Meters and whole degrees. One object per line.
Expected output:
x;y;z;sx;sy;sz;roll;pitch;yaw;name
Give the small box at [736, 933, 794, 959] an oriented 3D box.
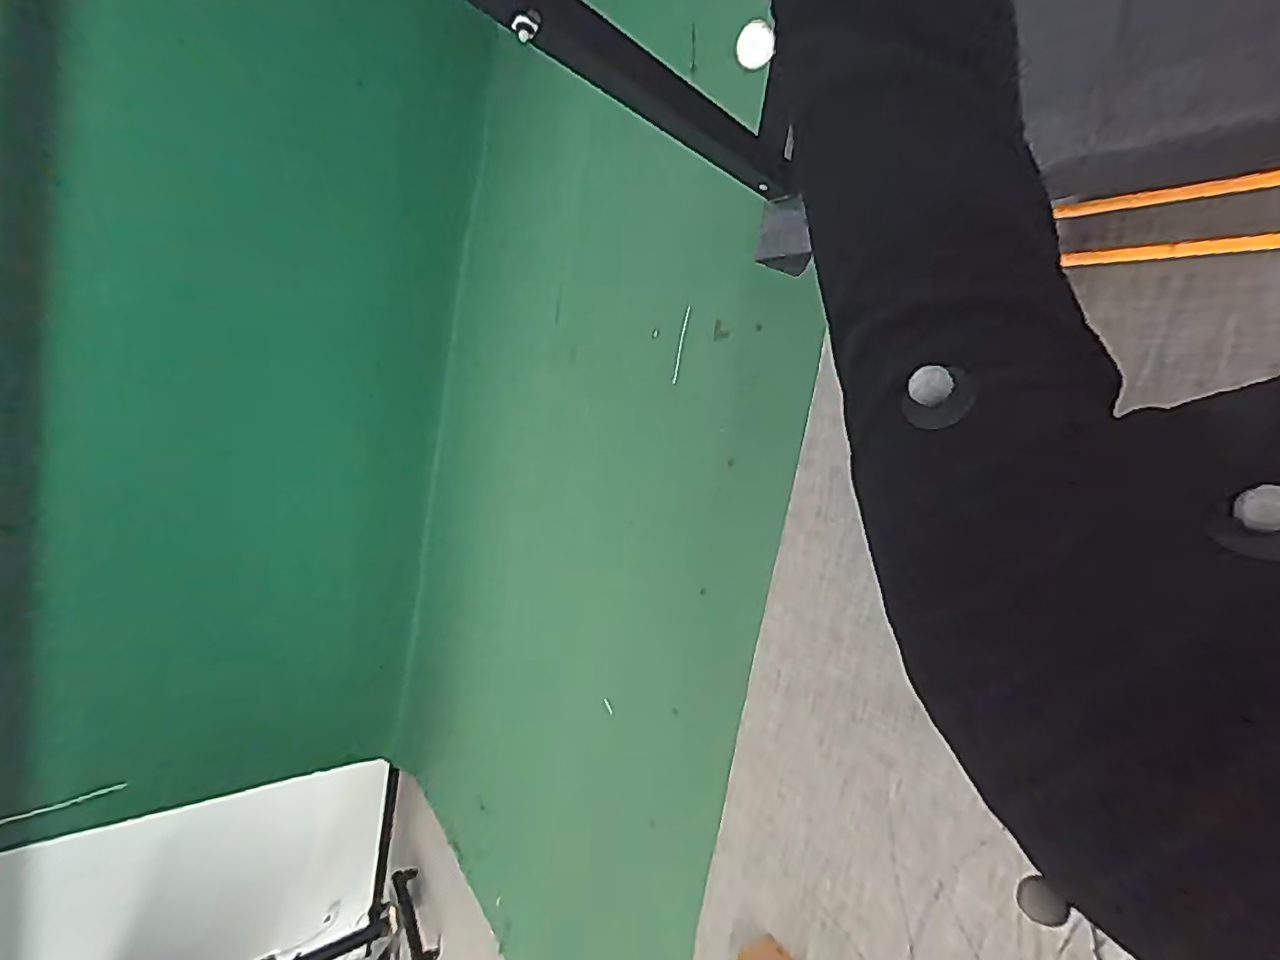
0.388;1.541;1.637;0.168;0.176;0.179;21;103;48;small box
